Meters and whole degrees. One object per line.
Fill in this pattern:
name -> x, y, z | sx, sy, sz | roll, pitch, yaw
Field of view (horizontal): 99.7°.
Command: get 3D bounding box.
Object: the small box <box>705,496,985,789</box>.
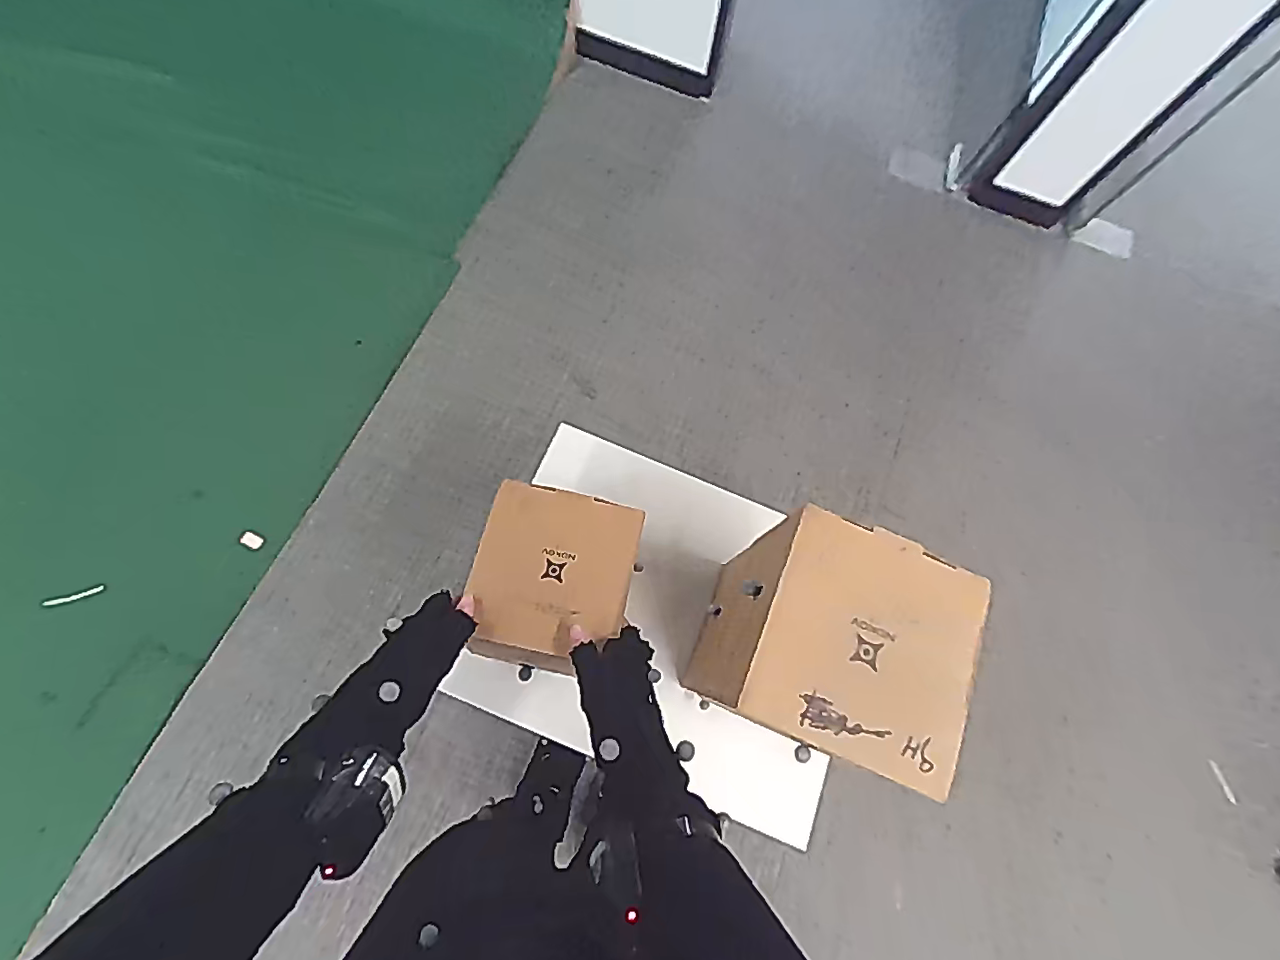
small box -> 0.171, 0.142, 0.496 | 0.168, 0.176, 0.179 | 22, 72, 3

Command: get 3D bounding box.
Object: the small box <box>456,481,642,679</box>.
small box -> -0.099, 0.126, 0.641 | 0.168, 0.176, 0.179 | 10, 64, -2
